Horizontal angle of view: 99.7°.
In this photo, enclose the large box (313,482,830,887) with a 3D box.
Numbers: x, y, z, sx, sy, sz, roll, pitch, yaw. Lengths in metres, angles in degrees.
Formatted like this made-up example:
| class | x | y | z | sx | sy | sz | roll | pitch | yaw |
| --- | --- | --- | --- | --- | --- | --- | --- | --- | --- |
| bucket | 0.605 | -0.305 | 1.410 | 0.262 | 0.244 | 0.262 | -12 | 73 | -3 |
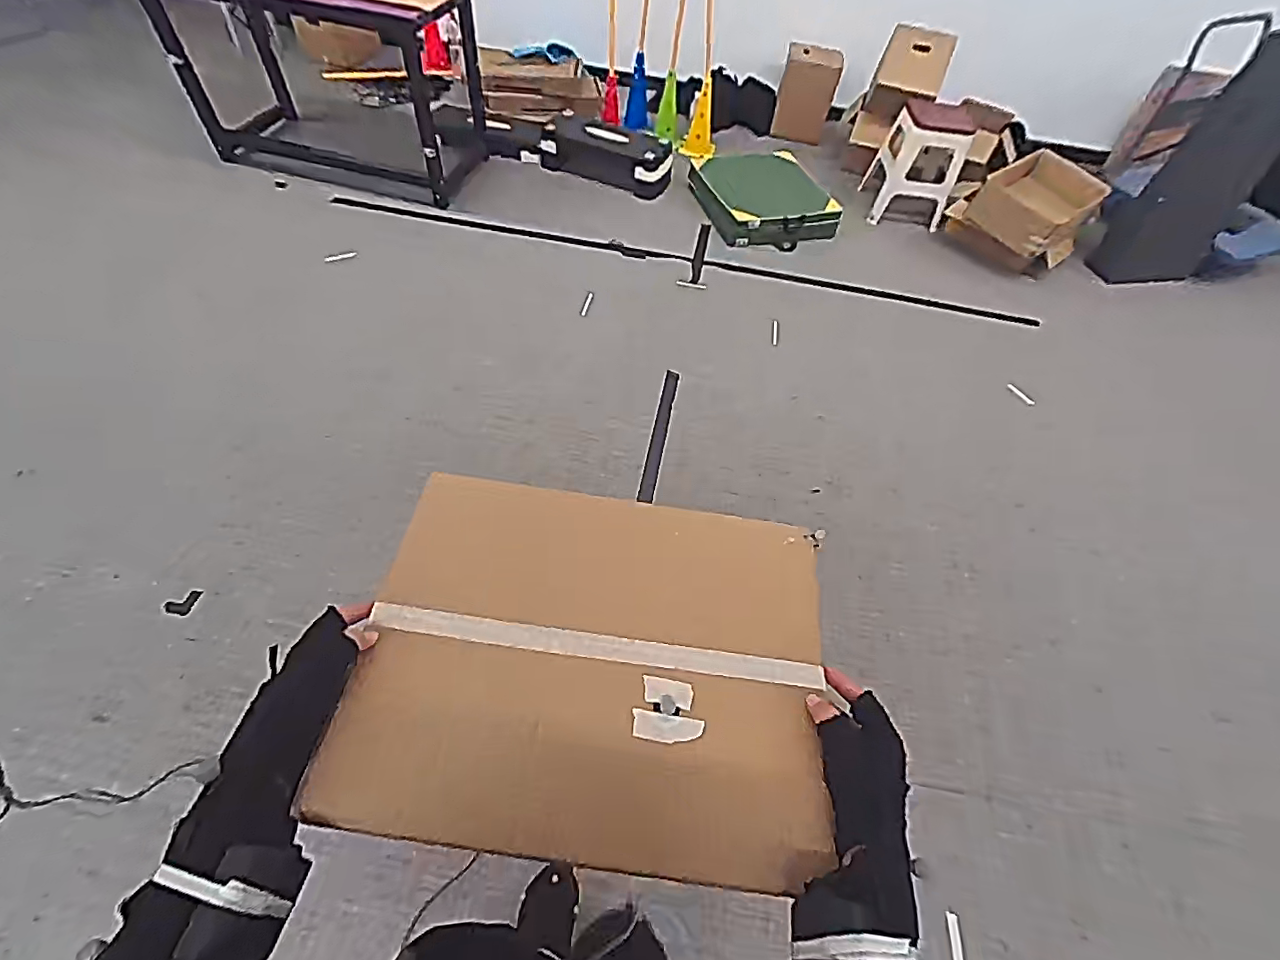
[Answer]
| class | x | y | z | sx | sy | sz | roll | pitch | yaw |
| --- | --- | --- | --- | --- | --- | --- | --- | --- | --- |
| large box | -0.049 | 0.236 | 0.611 | 0.408 | 0.320 | 0.320 | 9 | 56 | 0 |
